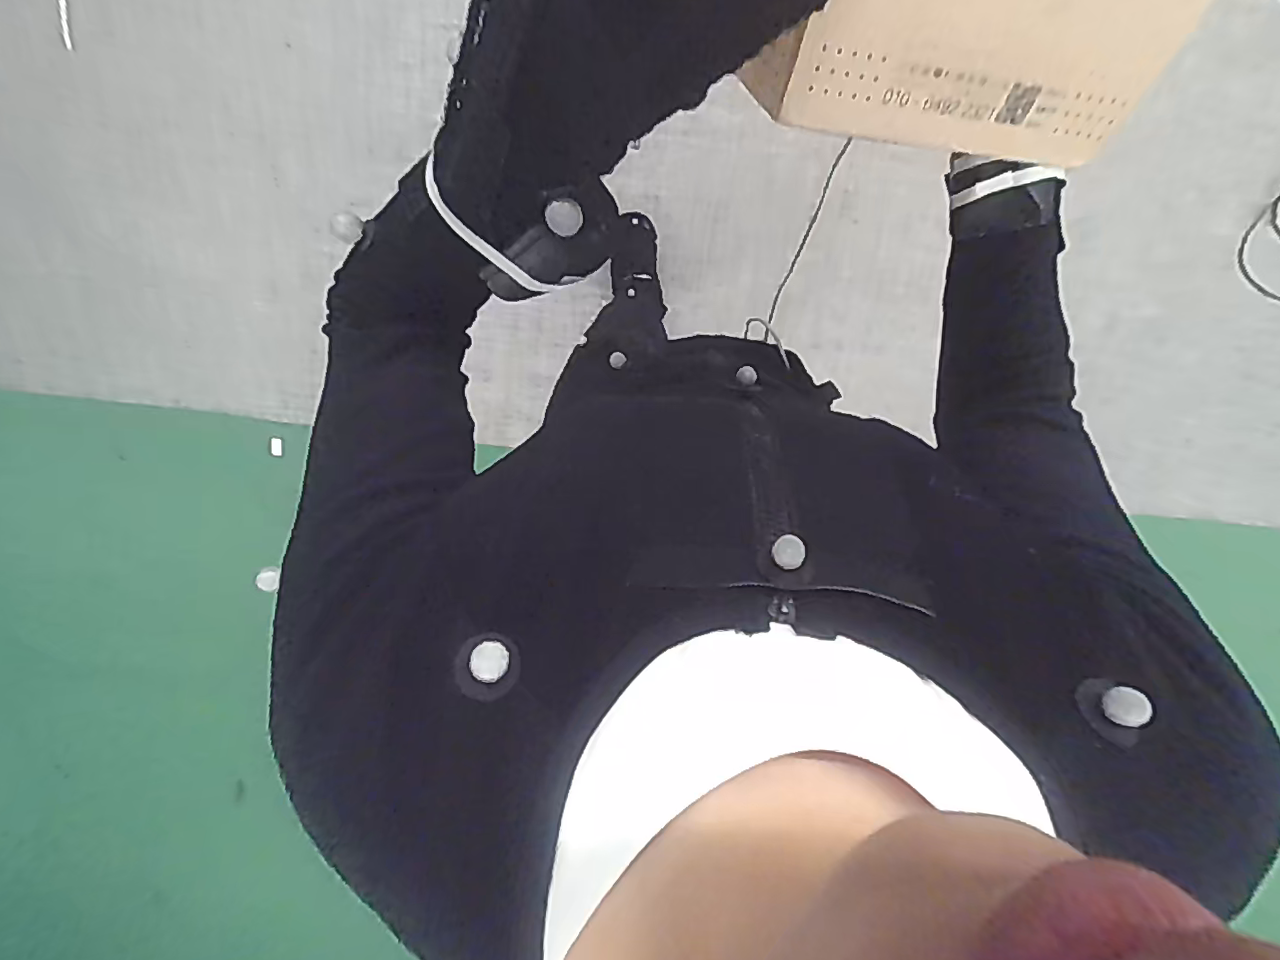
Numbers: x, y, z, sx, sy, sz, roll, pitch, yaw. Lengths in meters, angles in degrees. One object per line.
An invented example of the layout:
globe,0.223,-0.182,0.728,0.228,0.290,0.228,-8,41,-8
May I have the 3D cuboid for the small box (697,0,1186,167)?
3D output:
small box,0.136,-0.271,0.240,0.168,0.179,0.176,0,141,-14
